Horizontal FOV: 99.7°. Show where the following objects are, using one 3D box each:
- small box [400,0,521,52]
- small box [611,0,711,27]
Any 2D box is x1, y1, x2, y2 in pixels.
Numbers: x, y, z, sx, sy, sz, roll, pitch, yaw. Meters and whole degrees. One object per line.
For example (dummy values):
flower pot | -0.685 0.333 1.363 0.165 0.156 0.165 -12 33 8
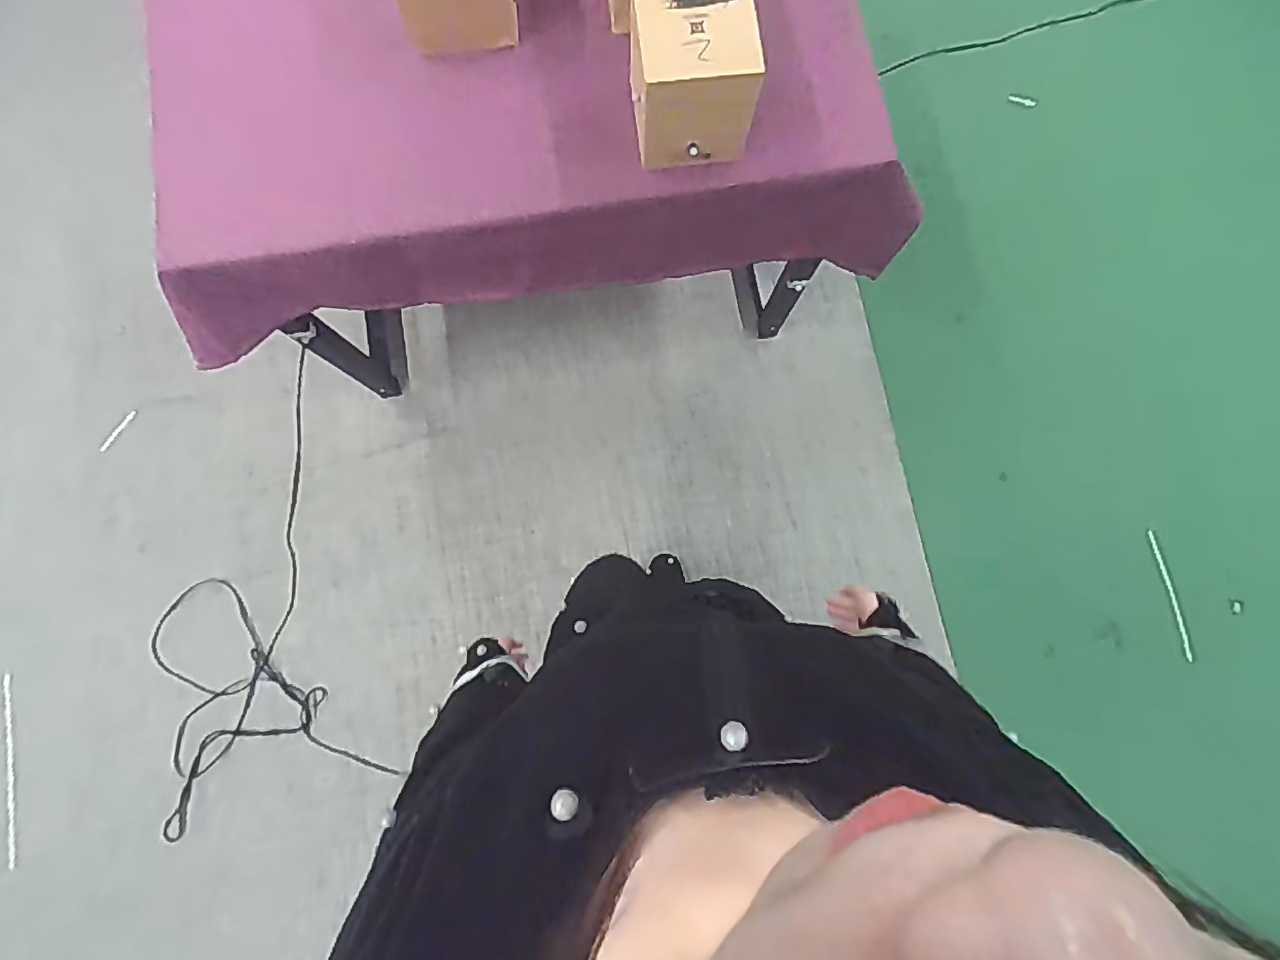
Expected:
small box | -0.295 -0.820 0.852 0.179 0.176 0.168 -6 82 -2
small box | 0.030 -0.867 0.860 0.168 0.176 0.179 -6 81 -1
